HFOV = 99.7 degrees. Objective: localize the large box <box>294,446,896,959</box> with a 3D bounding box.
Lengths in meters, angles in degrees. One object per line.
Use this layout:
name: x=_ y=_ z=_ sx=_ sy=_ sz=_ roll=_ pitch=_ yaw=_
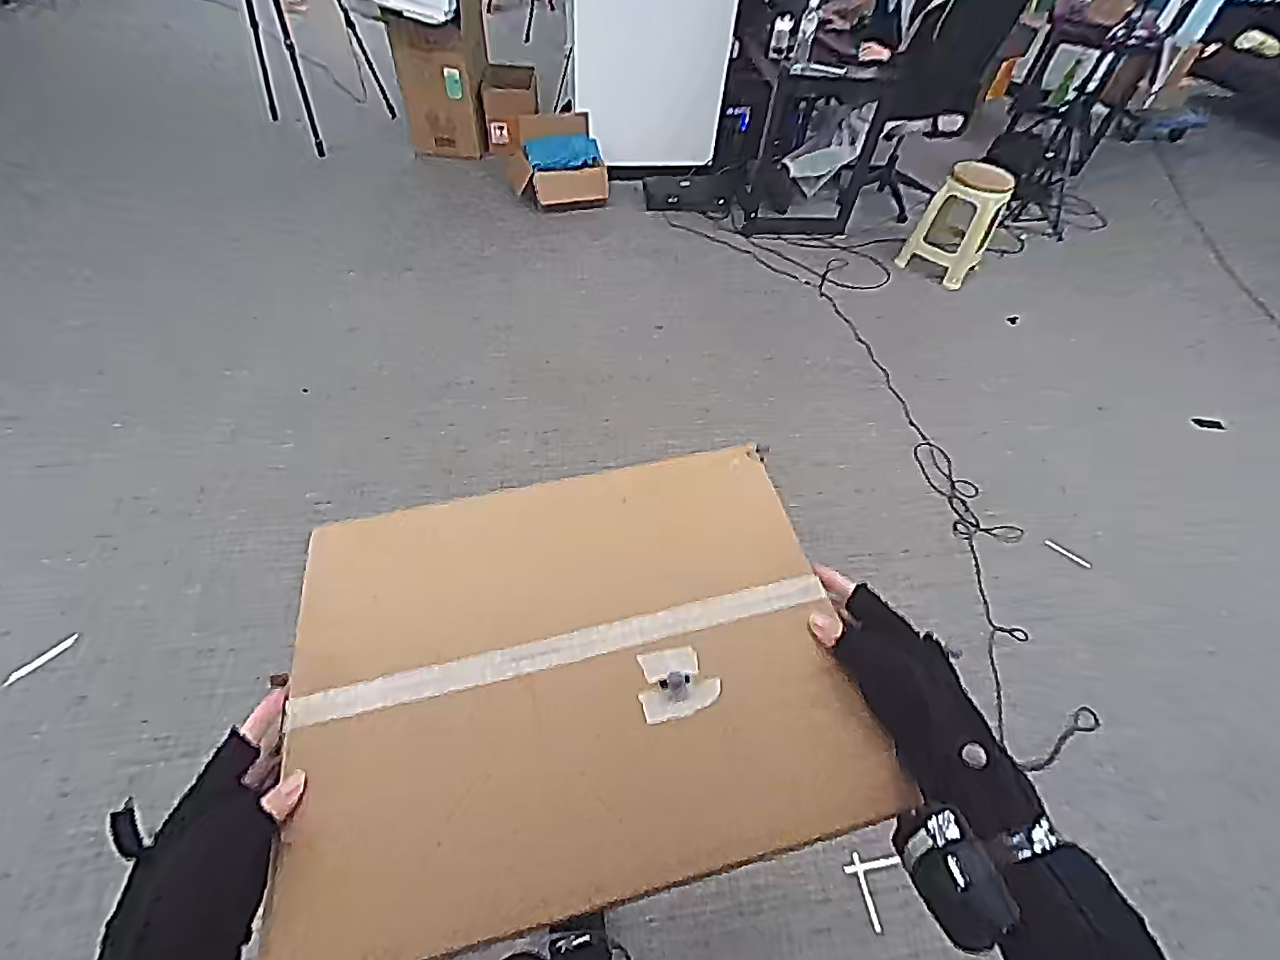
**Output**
large box: x=-0.051 y=0.211 z=0.546 sx=0.408 sy=0.320 sz=0.320 roll=-11 pitch=56 yaw=-9
